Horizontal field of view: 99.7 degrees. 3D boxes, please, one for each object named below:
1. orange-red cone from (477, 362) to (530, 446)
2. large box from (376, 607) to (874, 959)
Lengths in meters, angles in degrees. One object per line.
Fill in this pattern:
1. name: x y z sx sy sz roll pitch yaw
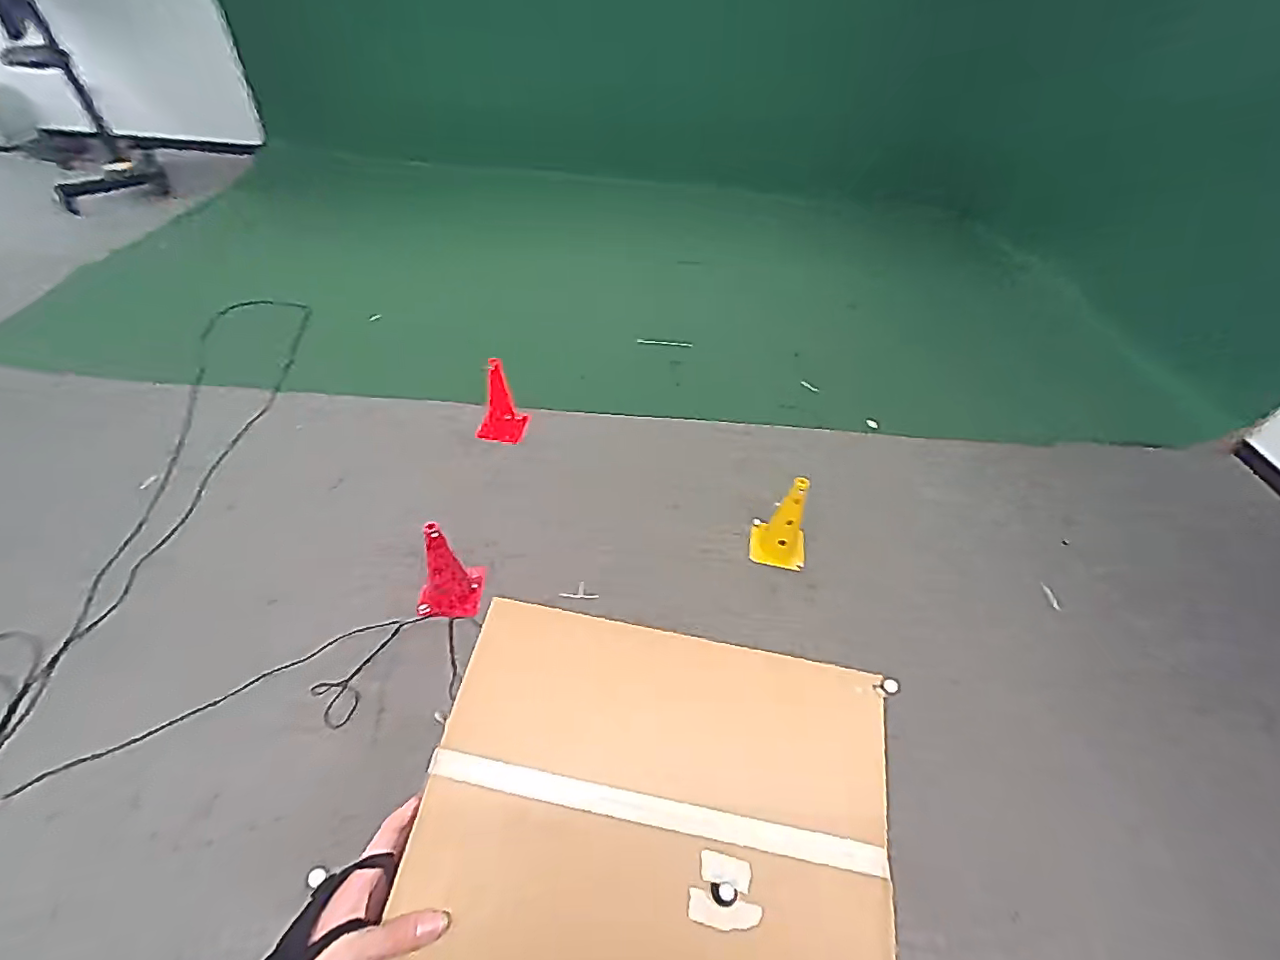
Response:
1. orange-red cone: -0.606 -0.346 2.325 0.199 0.360 0.198 9 45 5
2. large box: 0.002 0.370 0.614 0.408 0.320 0.320 10 60 4
